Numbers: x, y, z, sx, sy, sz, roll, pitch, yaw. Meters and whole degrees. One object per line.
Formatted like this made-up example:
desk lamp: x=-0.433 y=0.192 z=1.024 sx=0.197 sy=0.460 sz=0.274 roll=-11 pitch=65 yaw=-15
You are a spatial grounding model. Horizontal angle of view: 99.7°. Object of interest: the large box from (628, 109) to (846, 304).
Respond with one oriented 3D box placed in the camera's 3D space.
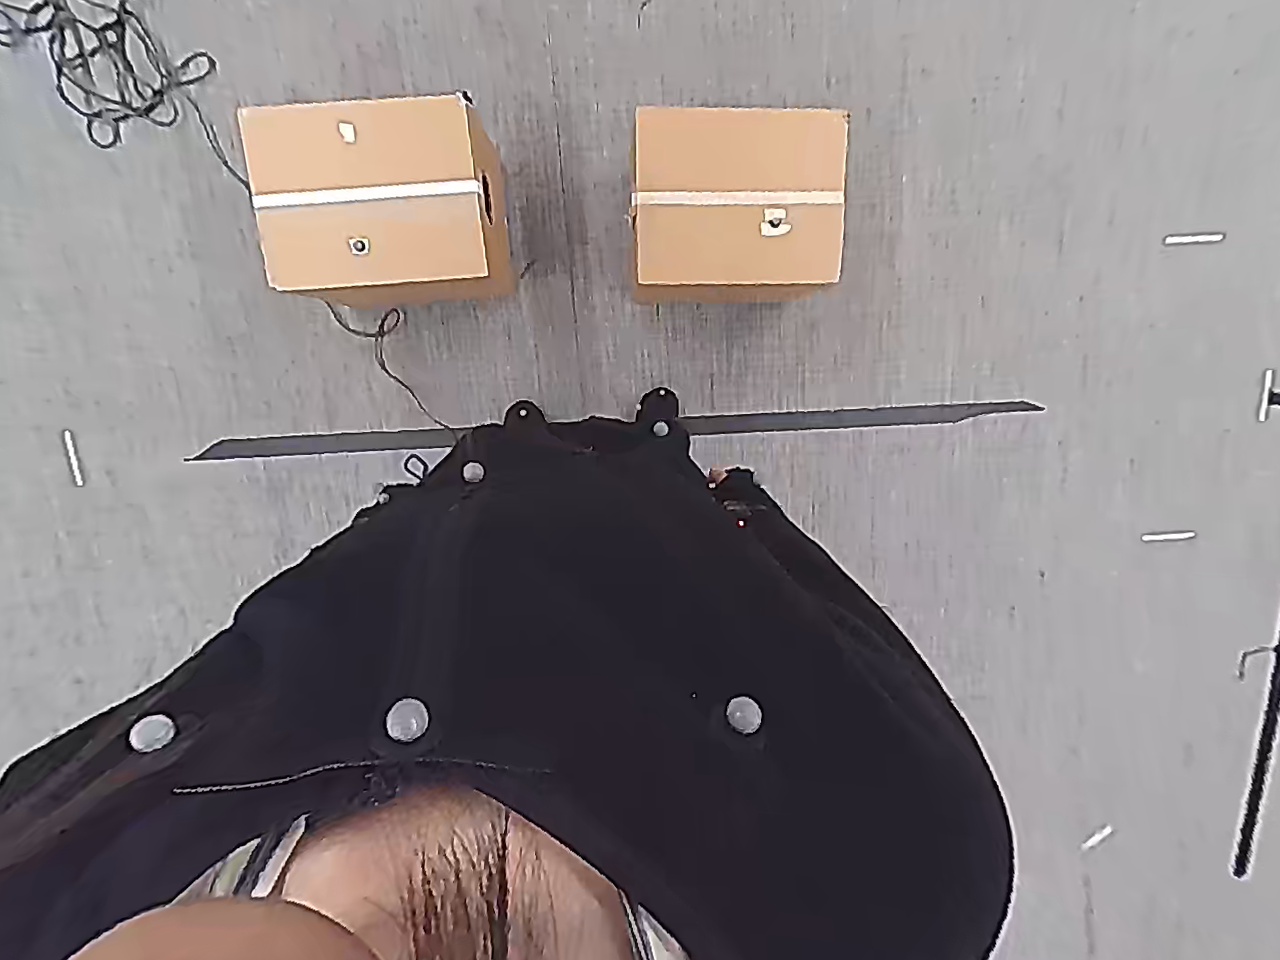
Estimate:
large box: x=0.185 y=-0.571 z=1.187 sx=0.408 sy=0.320 sz=0.320 roll=-1 pitch=102 yaw=-4
